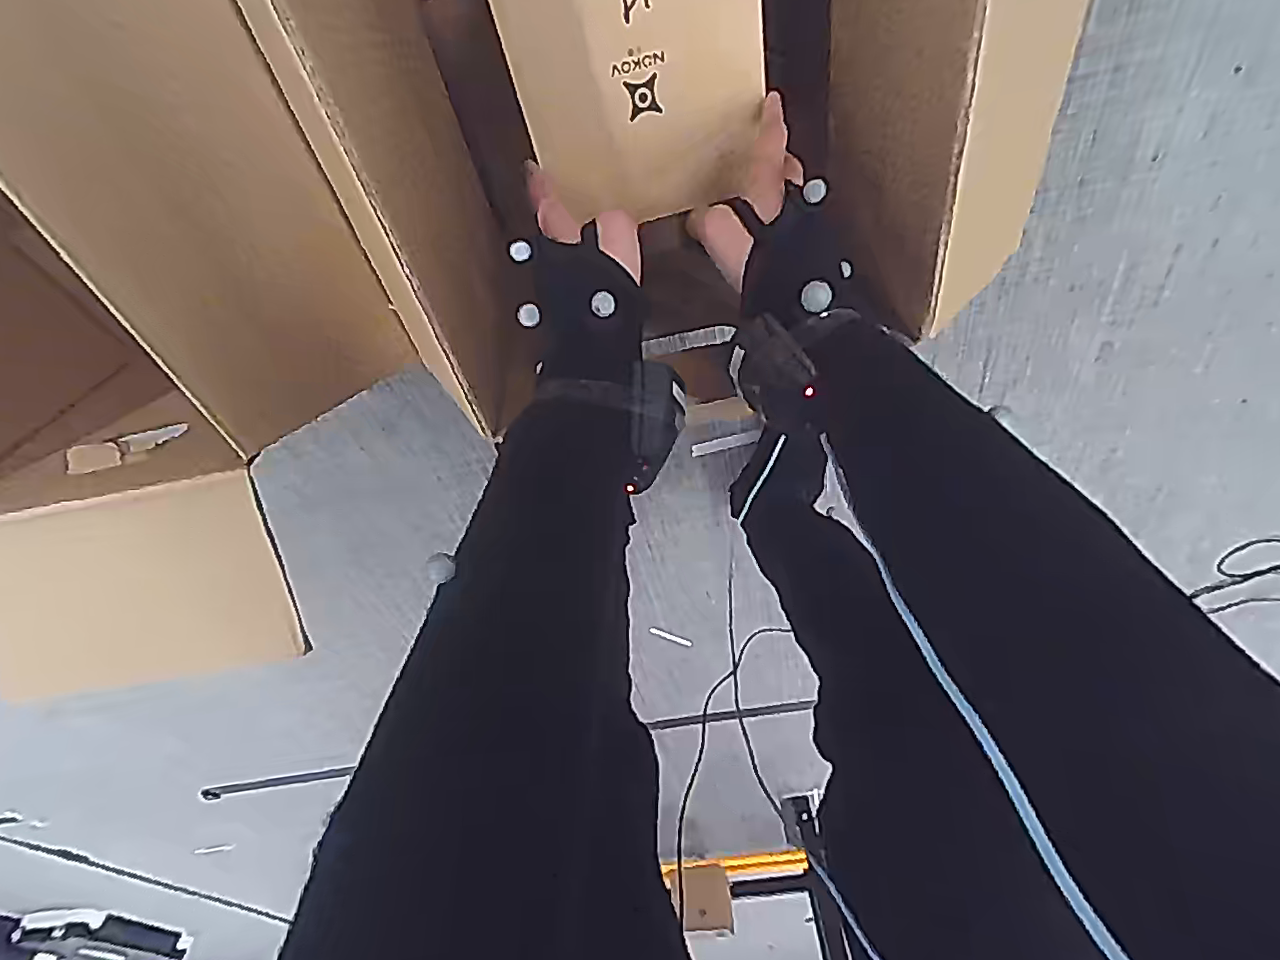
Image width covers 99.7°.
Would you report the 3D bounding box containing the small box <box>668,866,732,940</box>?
[{"bbox_3d":[0.199,1.401,1.794,0.179,0.176,0.168,-12,131,10],"label":"small box"}]
